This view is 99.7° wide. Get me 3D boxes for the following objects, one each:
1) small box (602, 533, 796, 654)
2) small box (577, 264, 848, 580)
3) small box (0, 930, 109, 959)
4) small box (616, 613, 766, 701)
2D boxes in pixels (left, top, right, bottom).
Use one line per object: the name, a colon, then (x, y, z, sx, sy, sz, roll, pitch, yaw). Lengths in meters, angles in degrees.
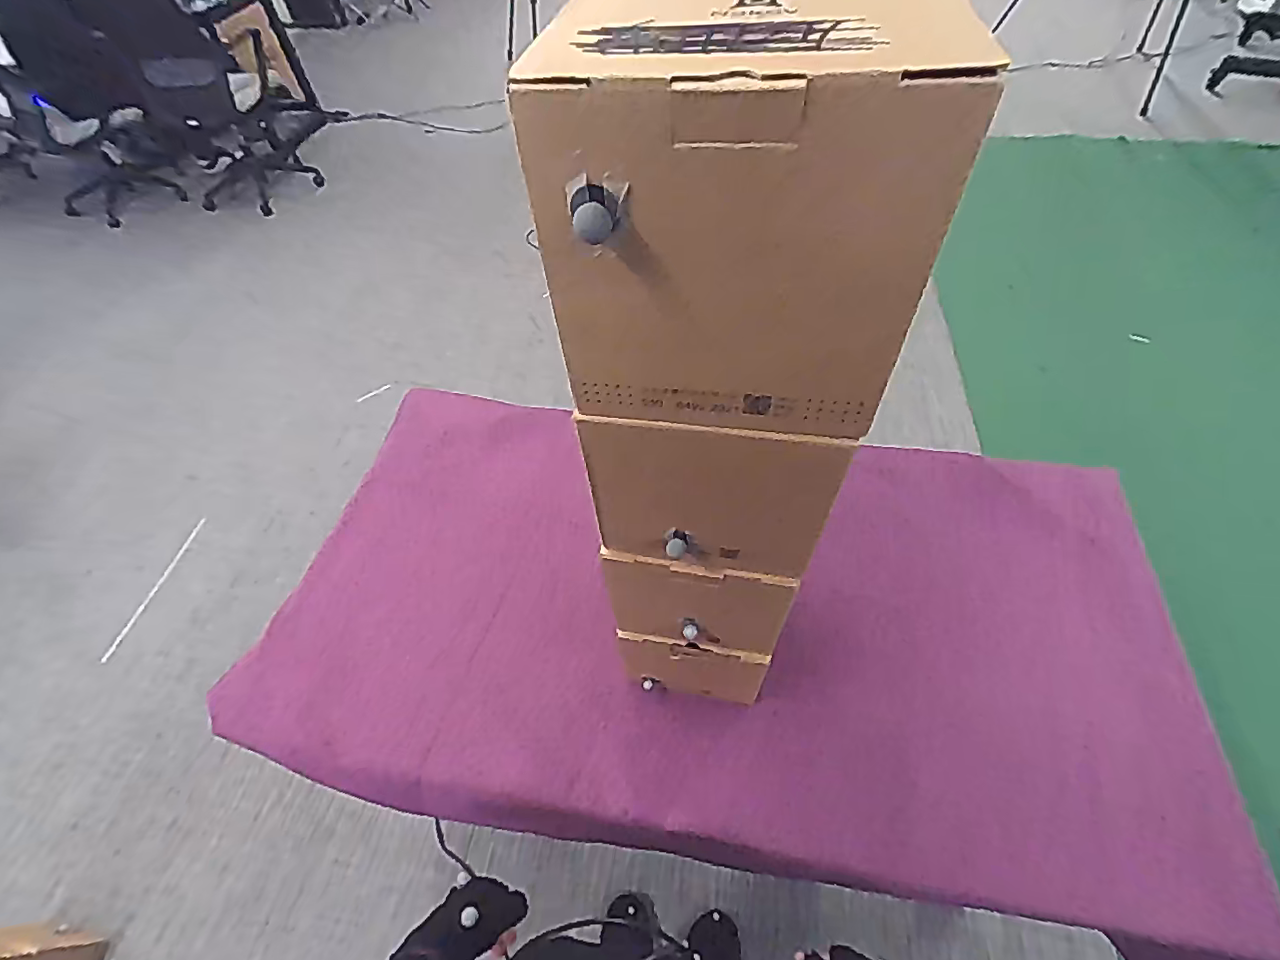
small box: (0.067, 0.056, 0.560, 0.168, 0.176, 0.179, 7, 54, 10)
small box: (0.060, -0.045, 0.432, 0.168, 0.176, 0.179, 7, 54, 10)
small box: (-1.227, 1.000, 1.053, 0.179, 0.176, 0.168, 5, 54, 8)
small box: (0.075, 0.161, 0.686, 0.168, 0.176, 0.179, 8, 54, 9)
